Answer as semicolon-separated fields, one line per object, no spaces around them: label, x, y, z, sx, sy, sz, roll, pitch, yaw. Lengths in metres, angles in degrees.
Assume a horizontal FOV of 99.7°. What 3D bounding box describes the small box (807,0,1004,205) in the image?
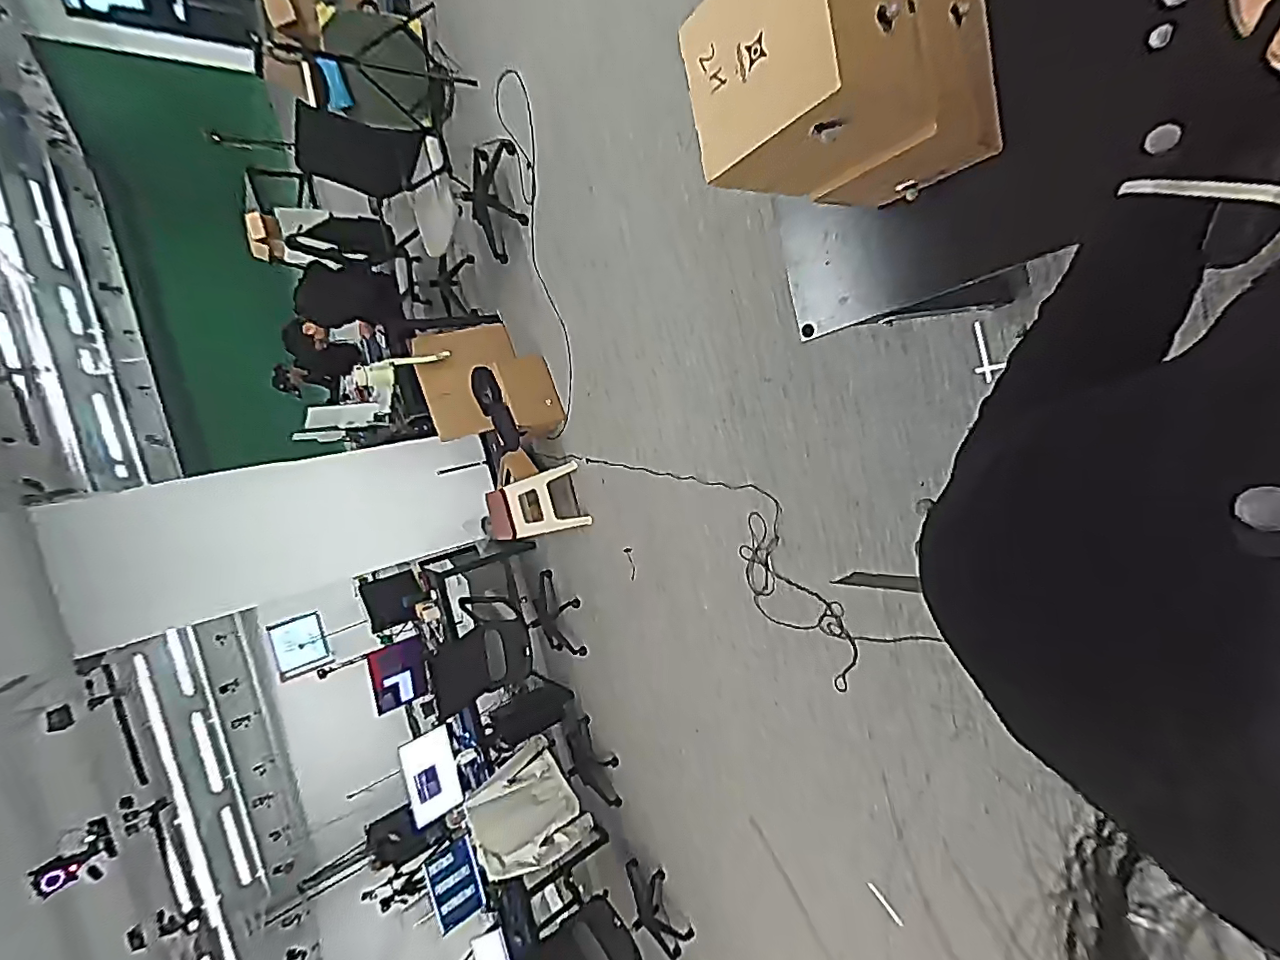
small box;0.308;-0.457;0.654;0.168;0.176;0.179;-3;102;56

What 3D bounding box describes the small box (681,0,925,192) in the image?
small box;0.173;-0.425;0.565;0.179;0.176;0.168;-3;100;56
